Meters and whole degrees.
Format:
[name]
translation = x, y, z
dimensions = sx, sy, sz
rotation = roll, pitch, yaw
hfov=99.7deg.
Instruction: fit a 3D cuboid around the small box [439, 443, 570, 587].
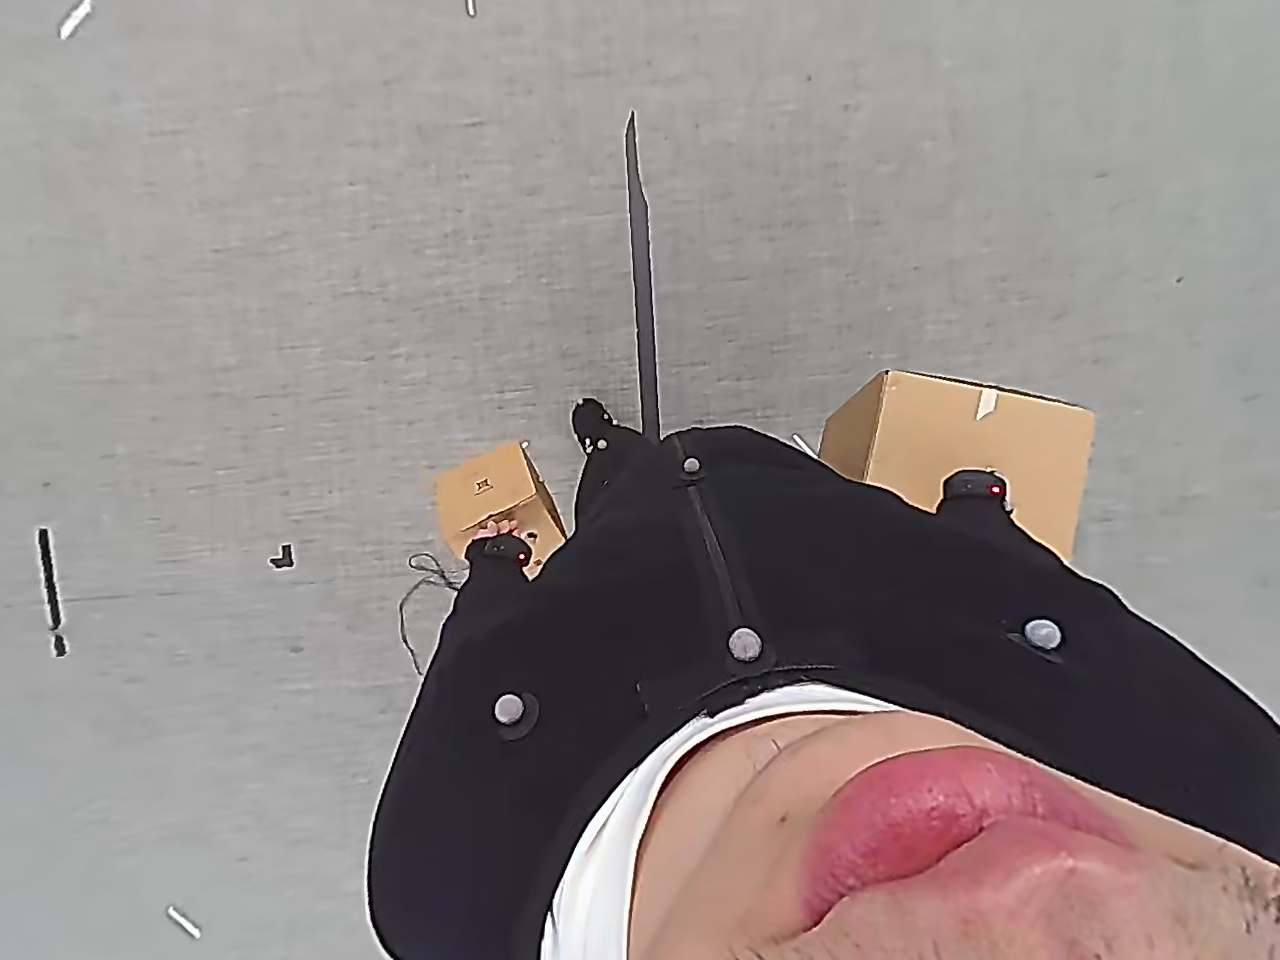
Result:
[small box]
translation = -0.244, 0.070, 0.985
dimensions = 0.168, 0.179, 0.176
rotation = -26, 131, -6
